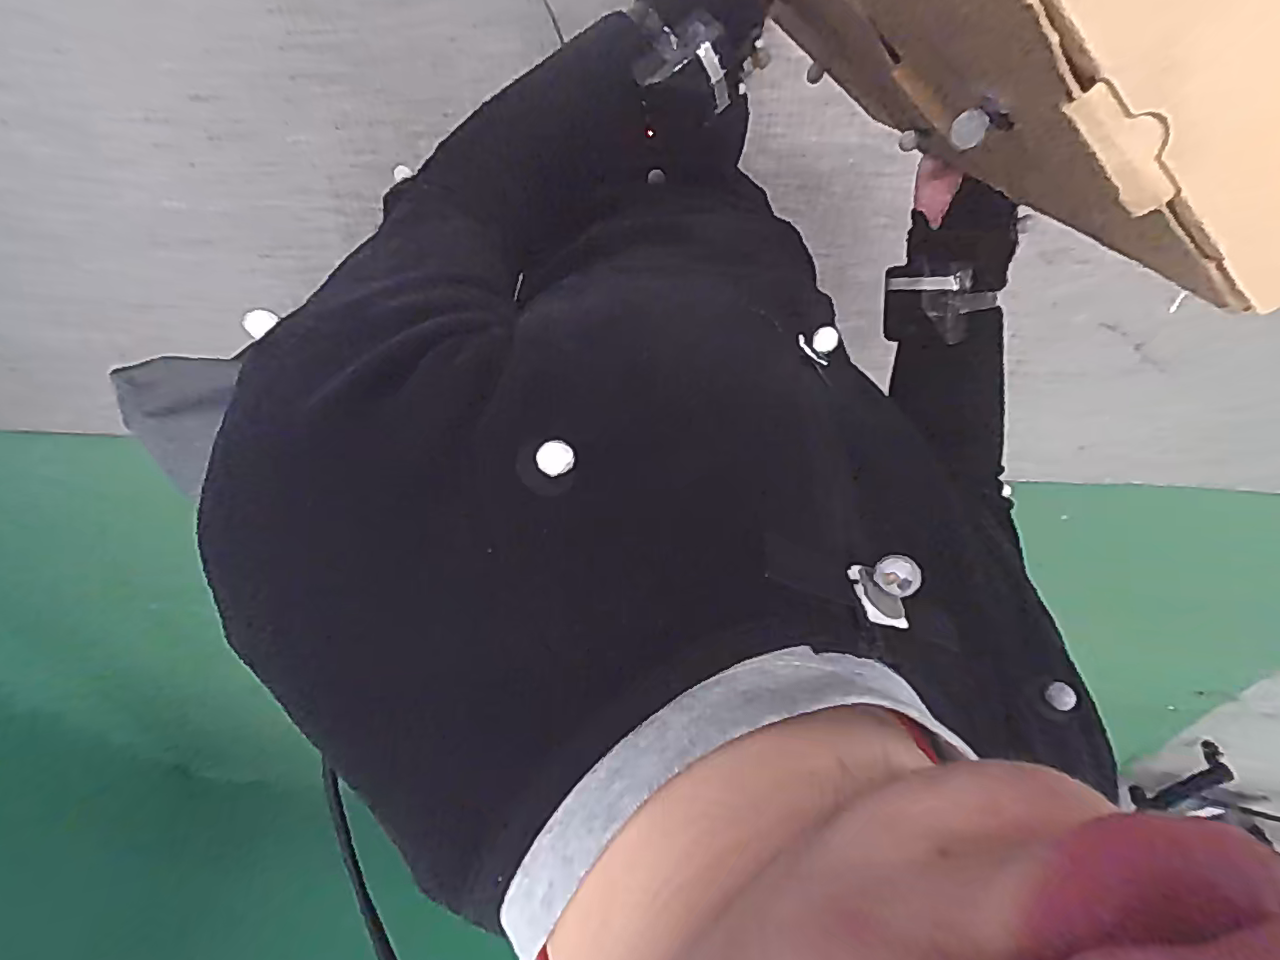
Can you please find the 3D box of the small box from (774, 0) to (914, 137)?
[{"bbox_3d":[0.222,-0.403,0.413,0.168,0.176,0.179,30,127,-18],"label":"small box"}]

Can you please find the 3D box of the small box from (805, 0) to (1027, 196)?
[{"bbox_3d":[0.207,-0.298,0.291,0.168,0.176,0.179,31,125,-20],"label":"small box"}]

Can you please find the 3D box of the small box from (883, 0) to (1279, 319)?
[{"bbox_3d":[0.197,-0.193,0.166,0.168,0.176,0.179,33,126,-21],"label":"small box"}]
